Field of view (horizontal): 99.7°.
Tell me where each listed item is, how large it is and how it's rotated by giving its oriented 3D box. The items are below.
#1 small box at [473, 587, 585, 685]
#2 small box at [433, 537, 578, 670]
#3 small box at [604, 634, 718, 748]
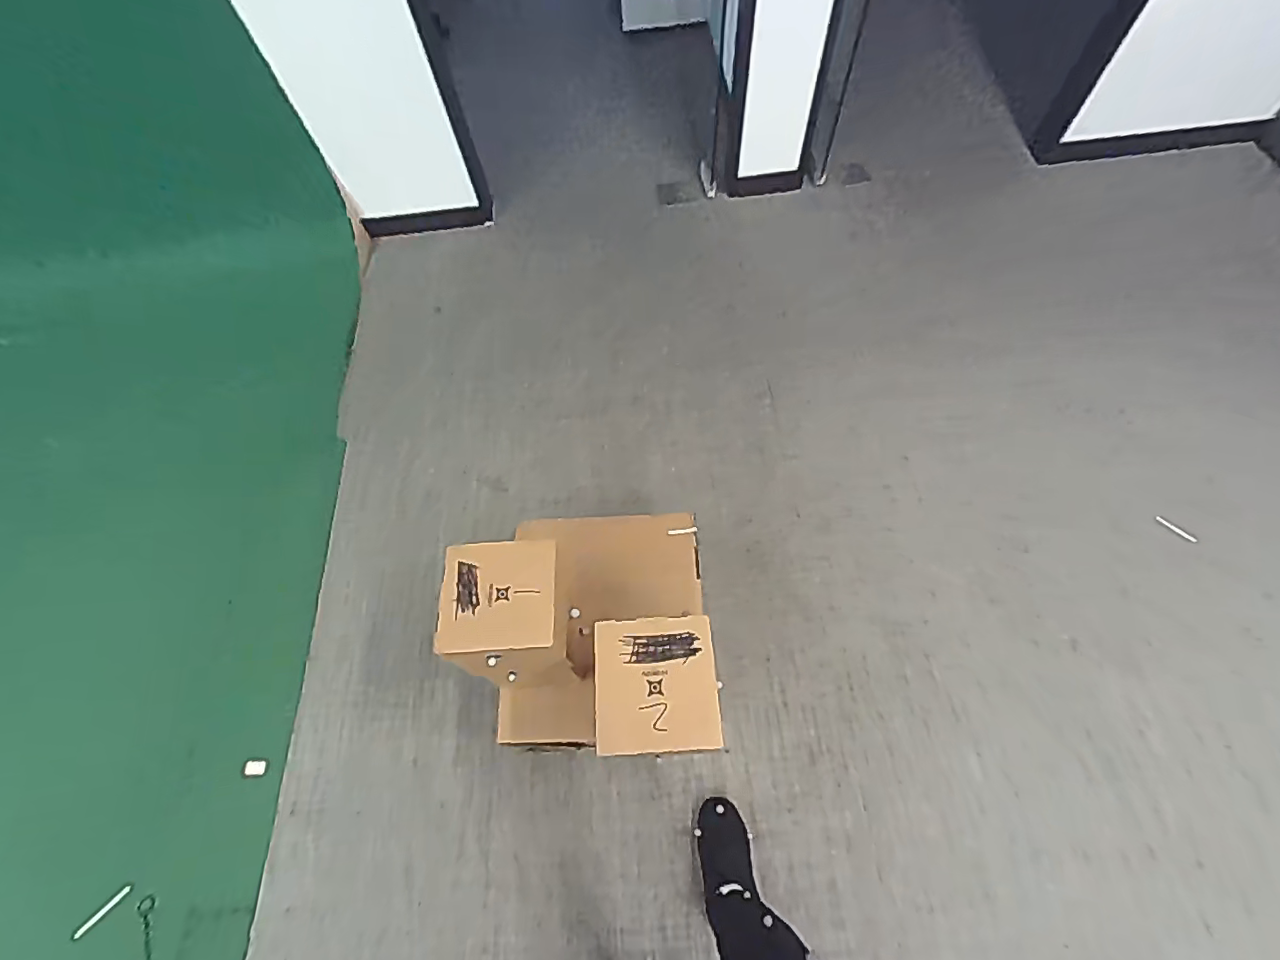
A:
[{"bbox_3d":[-0.199,0.277,1.014,0.168,0.176,0.179,-4,61,2],"label":"small box"},{"bbox_3d":[-0.203,0.203,0.865,0.179,0.176,0.168,-5,62,3],"label":"small box"},{"bbox_3d":[0.034,0.373,0.949,0.179,0.176,0.168,-5,62,1],"label":"small box"}]
